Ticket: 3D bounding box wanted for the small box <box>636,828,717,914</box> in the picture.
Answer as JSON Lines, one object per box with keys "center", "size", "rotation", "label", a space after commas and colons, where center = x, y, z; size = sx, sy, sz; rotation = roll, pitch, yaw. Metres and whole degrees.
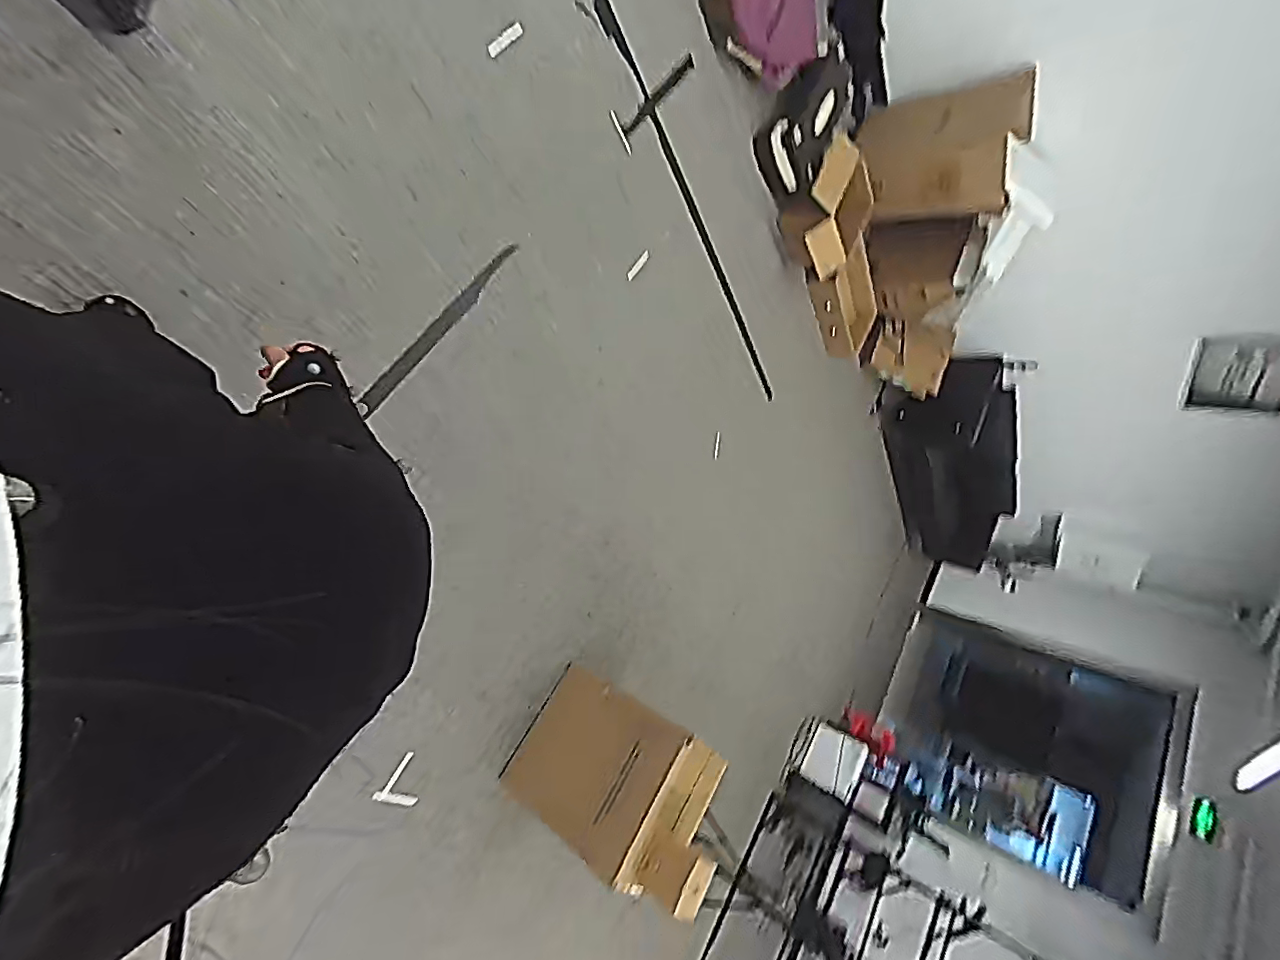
{"center": [0.120, 1.285, 1.781], "size": [0.168, 0.176, 0.179], "rotation": [-58, 135, -22], "label": "small box"}
